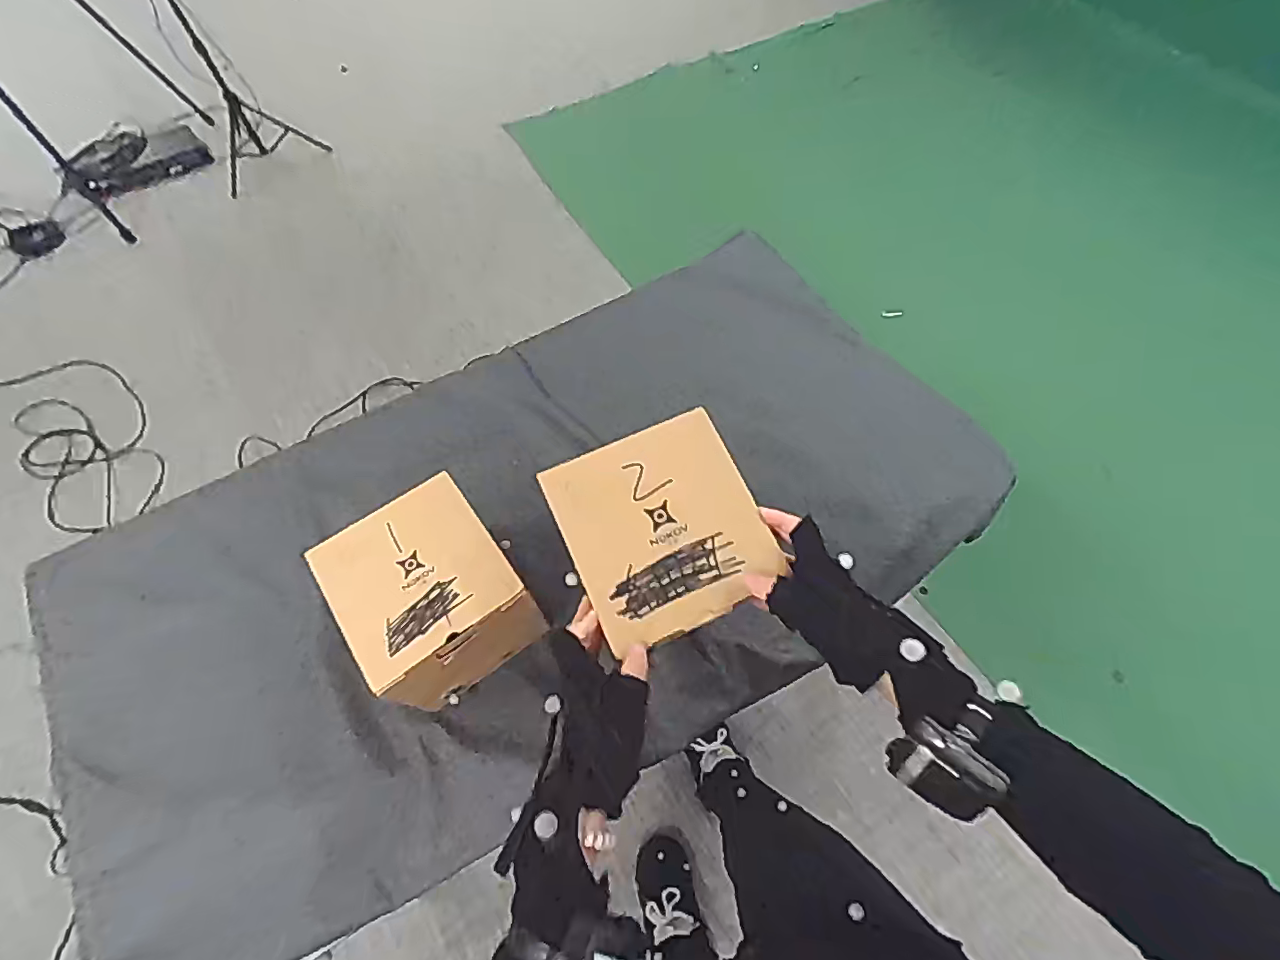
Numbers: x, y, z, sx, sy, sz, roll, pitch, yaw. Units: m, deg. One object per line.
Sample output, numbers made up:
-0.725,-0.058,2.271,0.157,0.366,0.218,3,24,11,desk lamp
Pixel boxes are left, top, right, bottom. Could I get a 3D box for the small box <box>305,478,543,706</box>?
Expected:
-0.229,0.136,0.616,0.168,0.176,0.179,-34,66,-17,small box
